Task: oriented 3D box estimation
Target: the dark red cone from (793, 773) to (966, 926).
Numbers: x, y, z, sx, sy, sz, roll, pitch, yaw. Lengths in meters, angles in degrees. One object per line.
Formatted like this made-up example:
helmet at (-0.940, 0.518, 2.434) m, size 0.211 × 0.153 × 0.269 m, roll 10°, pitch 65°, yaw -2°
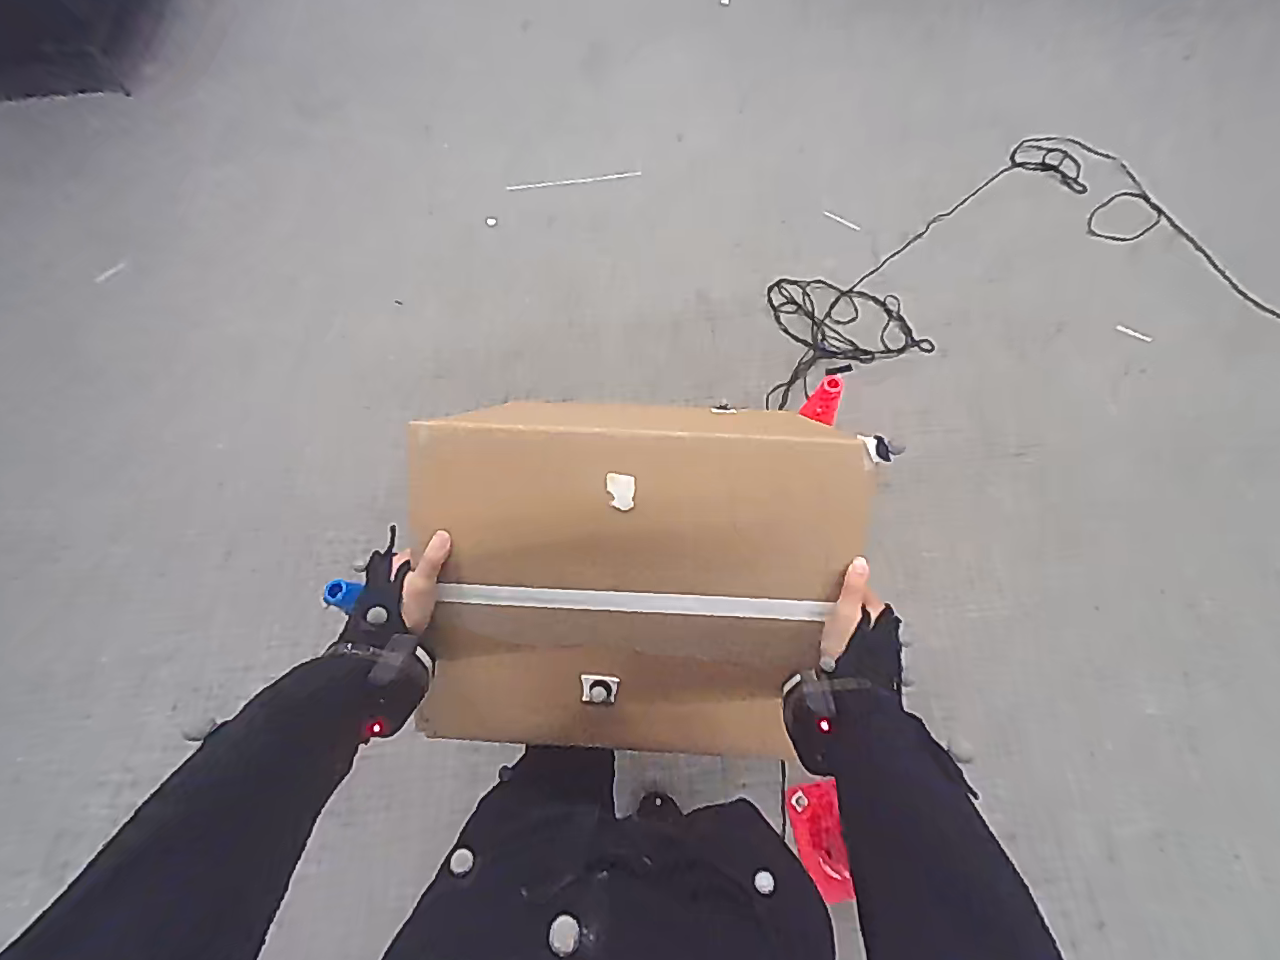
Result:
dark red cone at (0.400, 0.619, 0.869) m, size 0.202 × 0.394 × 0.201 m, roll -12°, pitch 68°, yaw -3°

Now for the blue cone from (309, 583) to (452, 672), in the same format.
blue cone at (-0.547, 0.275, 1.123) m, size 0.192 × 0.380 × 0.193 m, roll -5°, pitch 65°, yaw 1°
